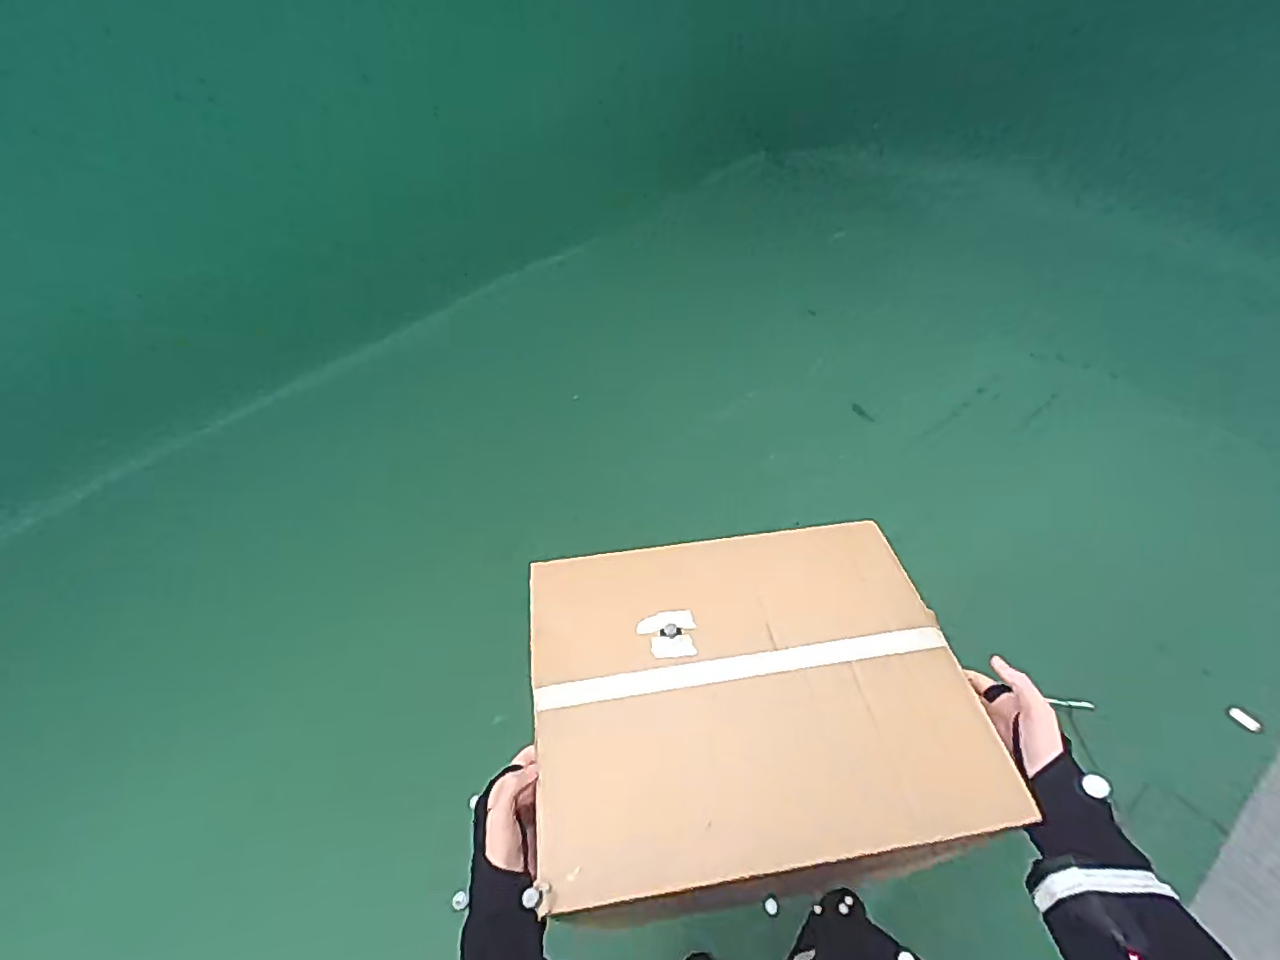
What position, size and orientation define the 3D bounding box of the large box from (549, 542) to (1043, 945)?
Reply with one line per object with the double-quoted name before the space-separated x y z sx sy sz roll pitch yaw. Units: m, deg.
"large box" 0.119 0.306 0.631 0.408 0.320 0.320 -6 46 -3
